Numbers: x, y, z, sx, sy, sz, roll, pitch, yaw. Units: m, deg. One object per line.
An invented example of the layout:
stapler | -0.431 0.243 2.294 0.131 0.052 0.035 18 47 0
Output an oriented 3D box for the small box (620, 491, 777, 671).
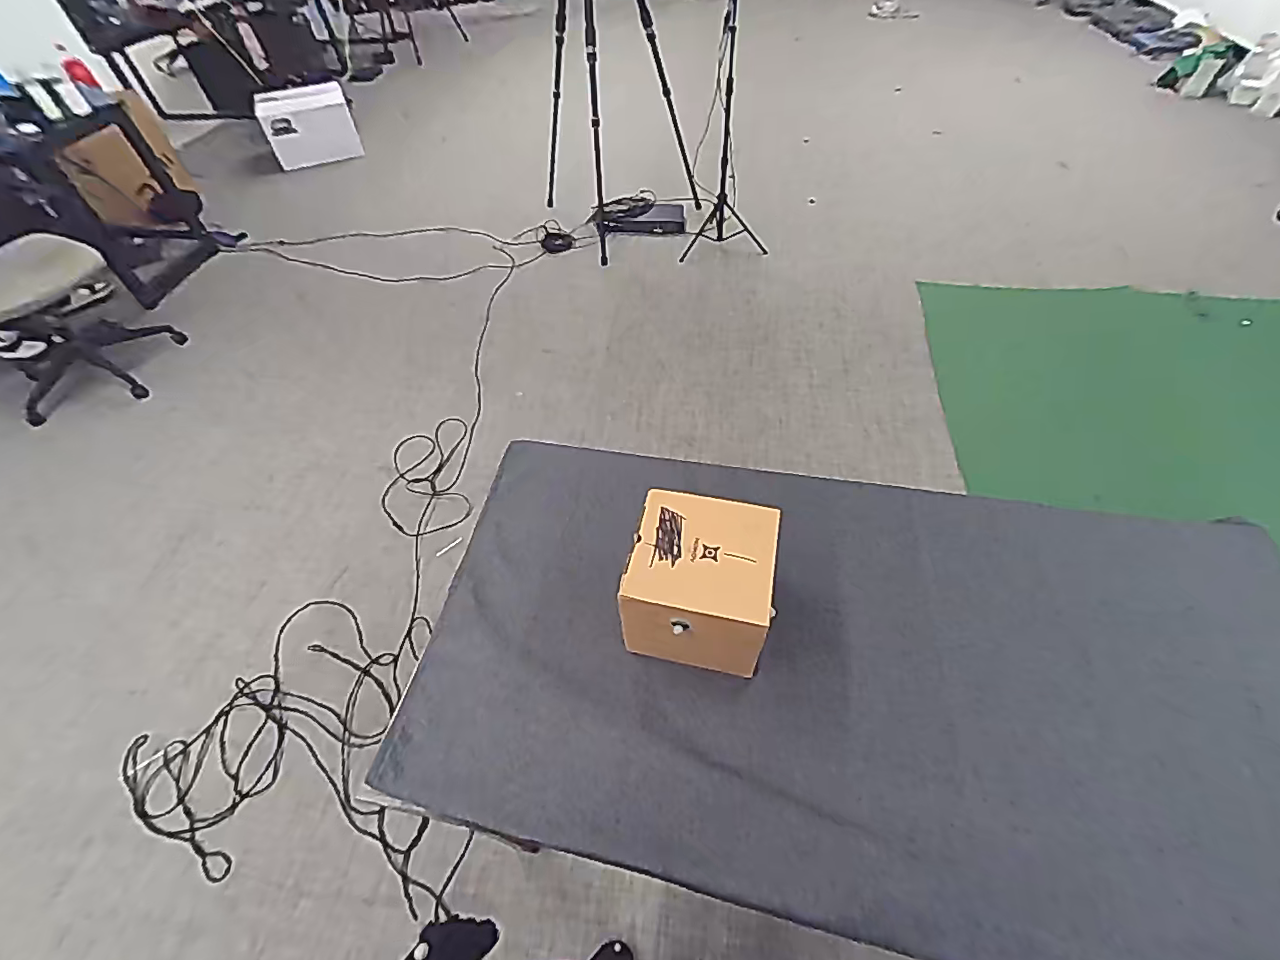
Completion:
small box | 0.080 0.140 0.736 0.179 0.176 0.168 10 52 10
